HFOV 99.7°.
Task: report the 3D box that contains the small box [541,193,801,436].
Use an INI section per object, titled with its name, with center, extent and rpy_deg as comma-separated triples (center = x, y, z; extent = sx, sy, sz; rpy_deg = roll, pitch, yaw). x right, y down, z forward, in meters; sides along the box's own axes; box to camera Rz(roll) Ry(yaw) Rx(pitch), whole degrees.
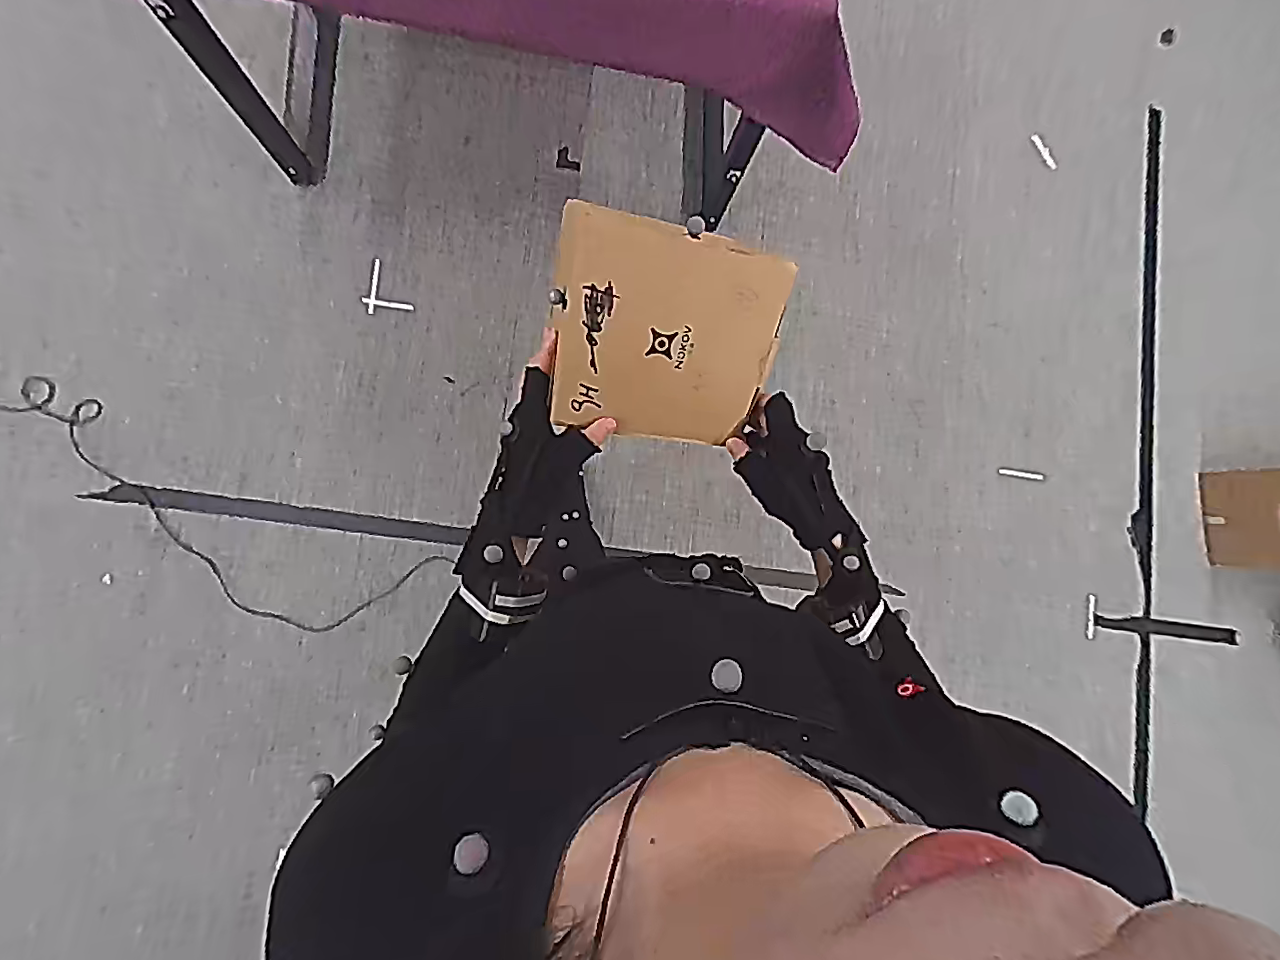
[small box]
center = 0.010, -0.157, 0.499
extent = 0.179, 0.176, 0.168
rpy_deg = 6, 117, -17
